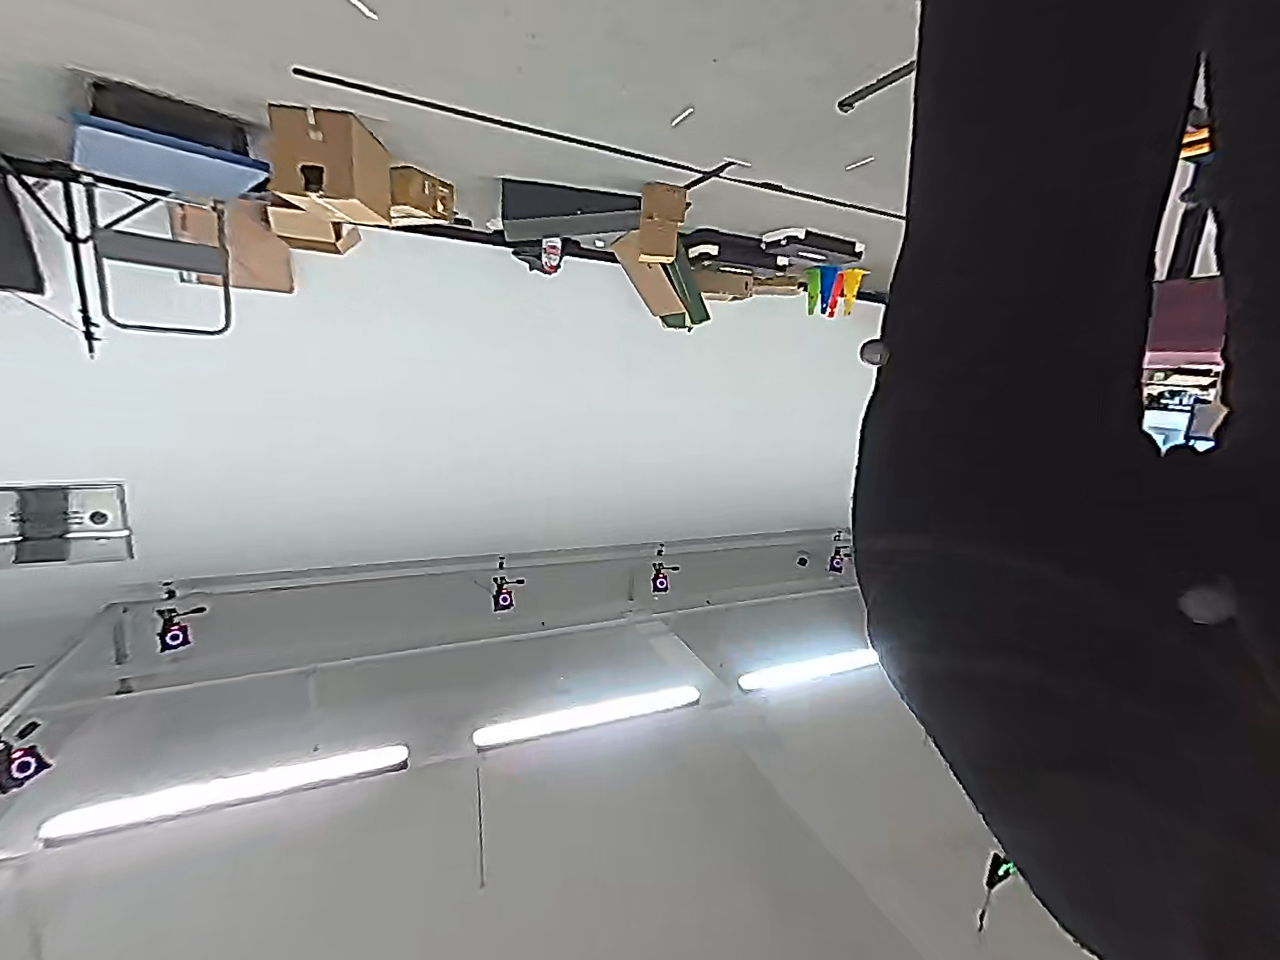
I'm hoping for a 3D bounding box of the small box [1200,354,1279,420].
[{"bbox_3d":[1.715,-0.259,1.490,0.168,0.176,0.179,-3,-167,-28],"label":"small box"}]
